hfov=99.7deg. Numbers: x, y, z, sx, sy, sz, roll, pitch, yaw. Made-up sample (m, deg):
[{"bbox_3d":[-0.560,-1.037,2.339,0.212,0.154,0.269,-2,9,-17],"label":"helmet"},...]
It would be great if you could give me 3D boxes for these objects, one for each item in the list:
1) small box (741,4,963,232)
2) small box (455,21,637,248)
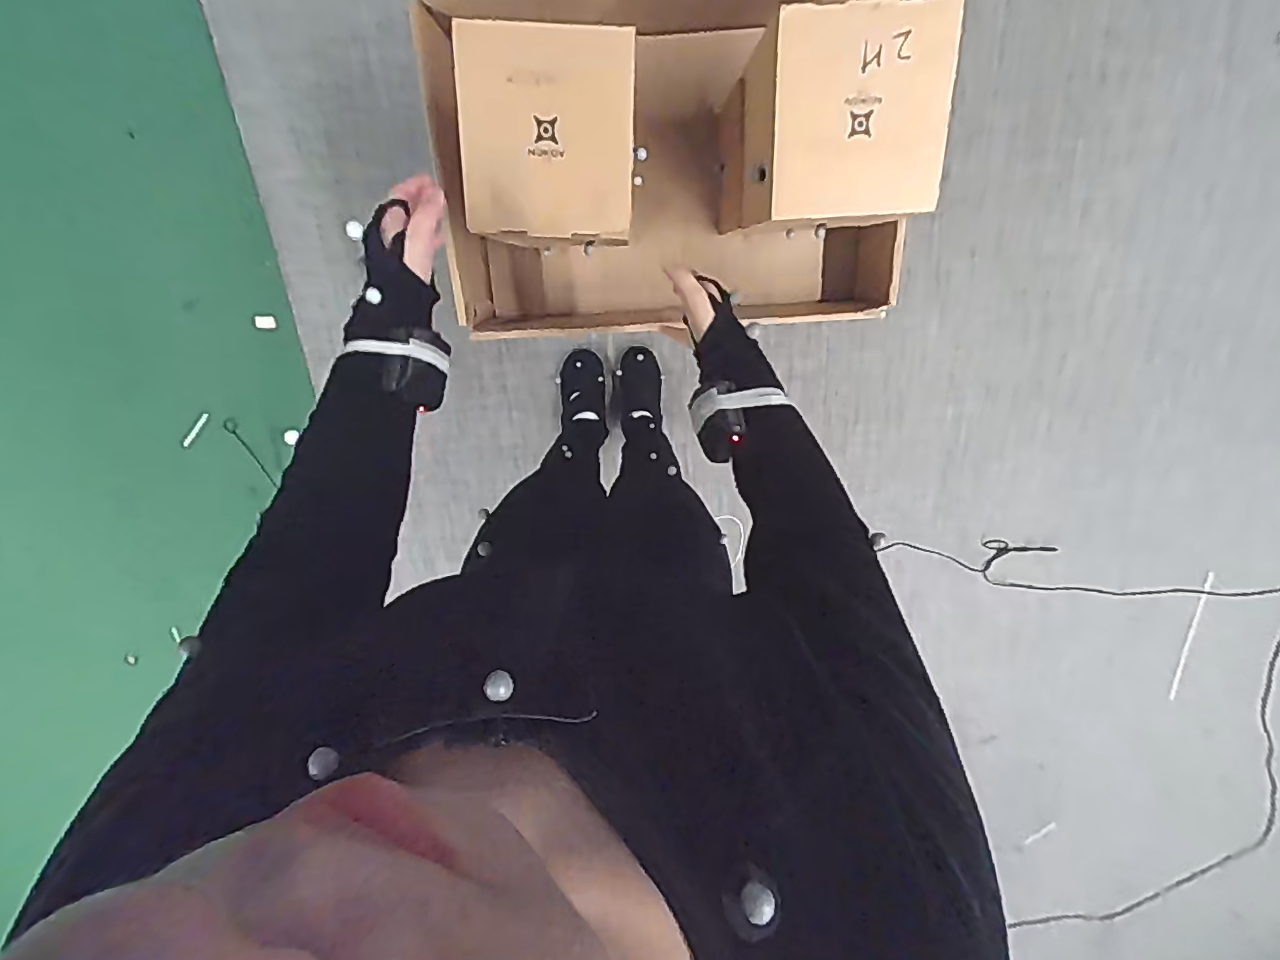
[{"bbox_3d":[0.206,-0.366,0.581,0.168,0.176,0.179,-2,111,0],"label":"small box"},{"bbox_3d":[-0.090,-0.353,0.589,0.168,0.176,0.179,2,110,-2],"label":"small box"}]
